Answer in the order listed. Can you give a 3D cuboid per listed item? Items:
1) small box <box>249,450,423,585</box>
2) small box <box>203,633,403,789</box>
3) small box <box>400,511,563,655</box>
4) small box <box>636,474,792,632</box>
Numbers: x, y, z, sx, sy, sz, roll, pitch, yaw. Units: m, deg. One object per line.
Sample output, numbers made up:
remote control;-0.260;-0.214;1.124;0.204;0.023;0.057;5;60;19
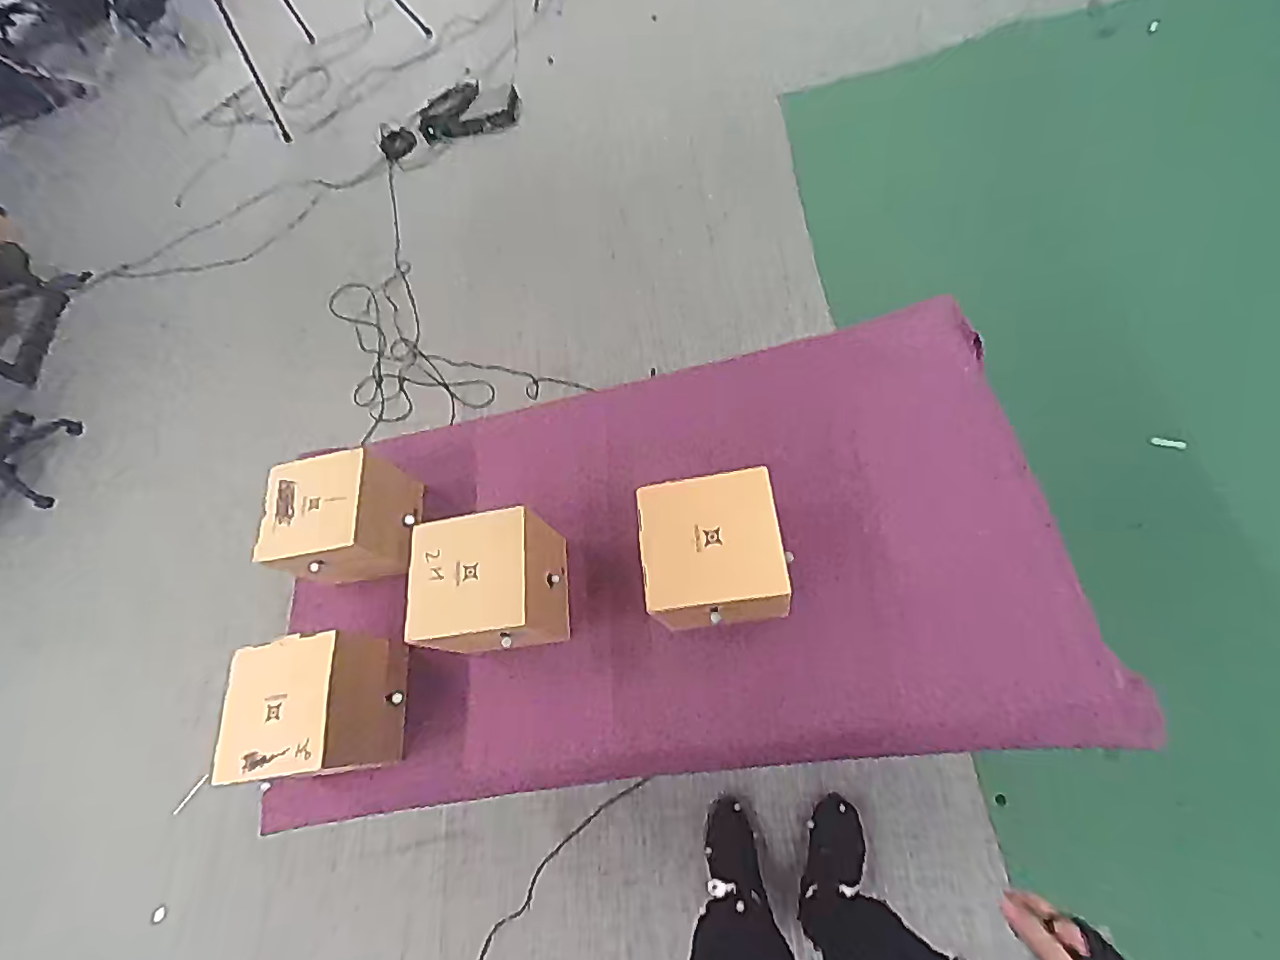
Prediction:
small box;-0.494;0.070;0.903;0.179;0.176;0.168;-10;66;9
small box;-0.467;0.334;0.781;0.168;0.176;0.179;-12;63;10
small box;-0.218;0.159;0.795;0.179;0.176;0.168;-10;65;10
small box;0.103;0.108;0.739;0.179;0.176;0.168;-10;66;11
